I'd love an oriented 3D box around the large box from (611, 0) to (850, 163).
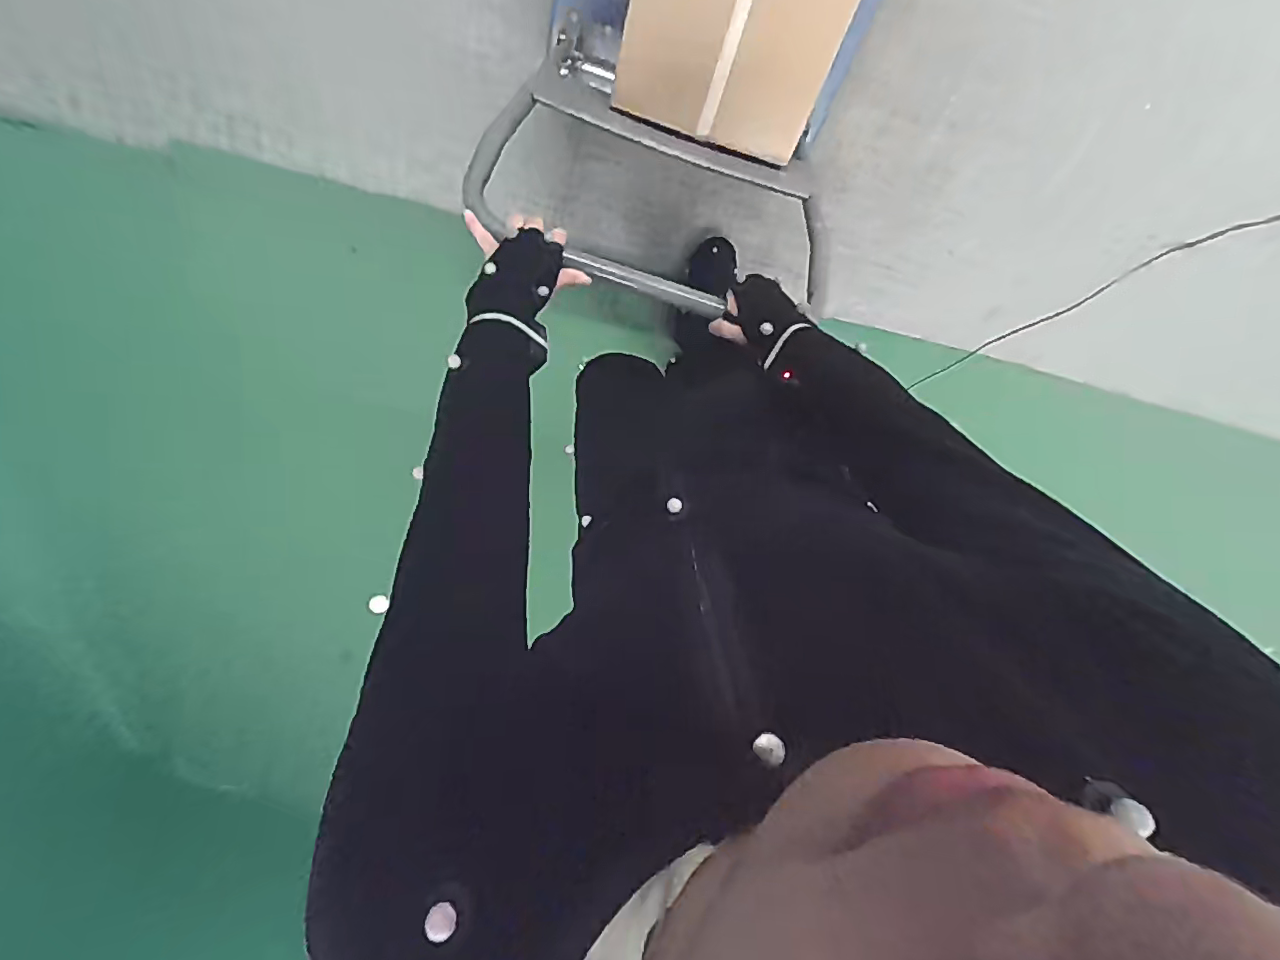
[{"bbox_3d":[0.164,-0.814,0.874,0.320,0.320,0.408,15,136,-7],"label":"large box"}]
